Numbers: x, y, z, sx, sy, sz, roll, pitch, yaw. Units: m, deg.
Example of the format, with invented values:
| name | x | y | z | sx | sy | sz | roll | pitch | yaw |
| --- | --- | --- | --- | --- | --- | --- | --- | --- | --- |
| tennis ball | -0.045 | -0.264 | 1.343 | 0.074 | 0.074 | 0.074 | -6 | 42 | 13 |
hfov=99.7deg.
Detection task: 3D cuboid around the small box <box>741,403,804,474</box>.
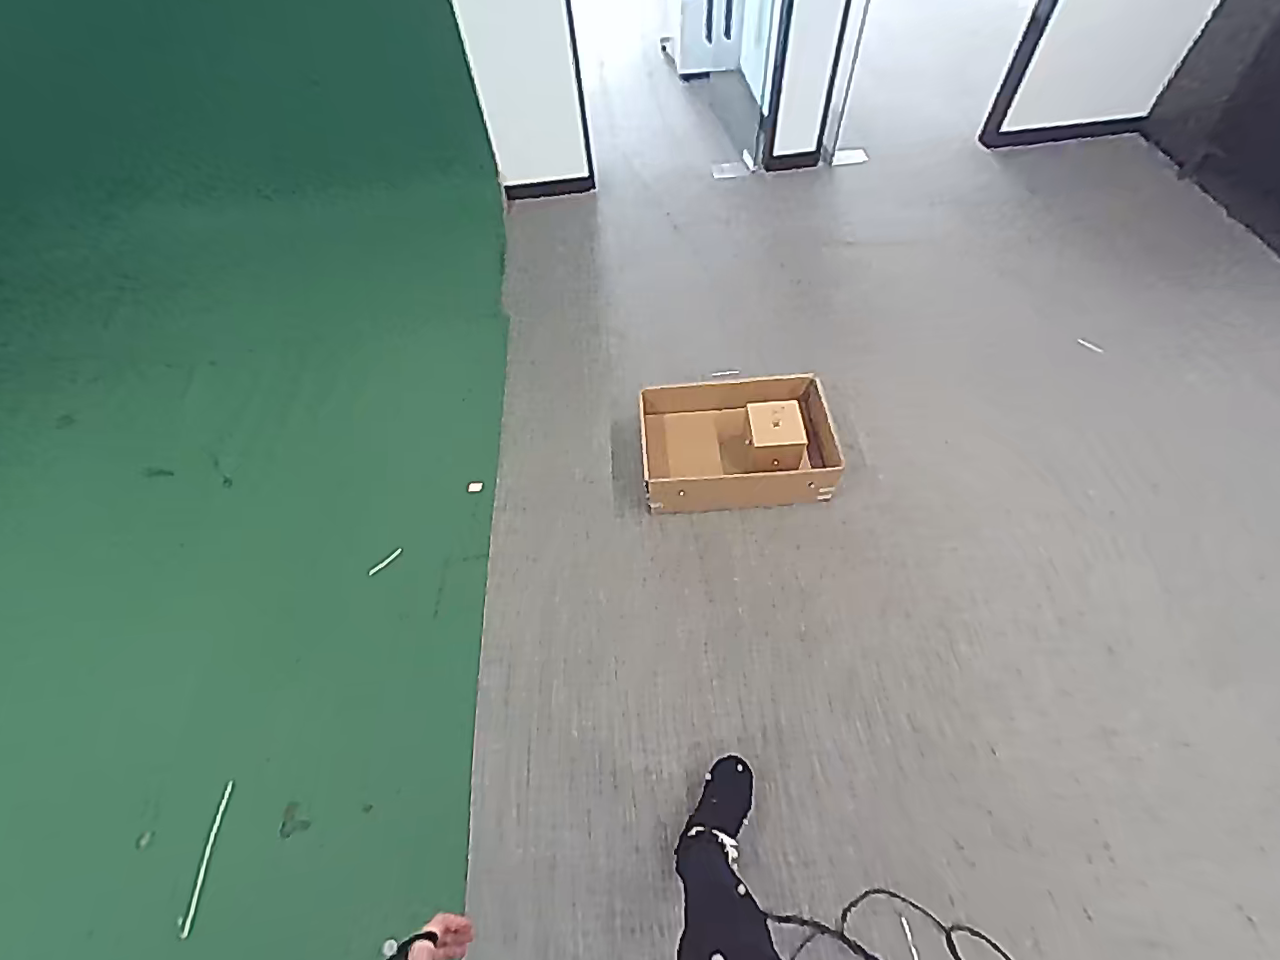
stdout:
| name | x | y | z | sx | sy | sz | roll | pitch | yaw |
| --- | --- | --- | --- | --- | --- | --- | --- | --- | --- |
| small box | 0.430 | -0.129 | 1.775 | 0.168 | 0.176 | 0.179 | -3 | 56 | 2 |
